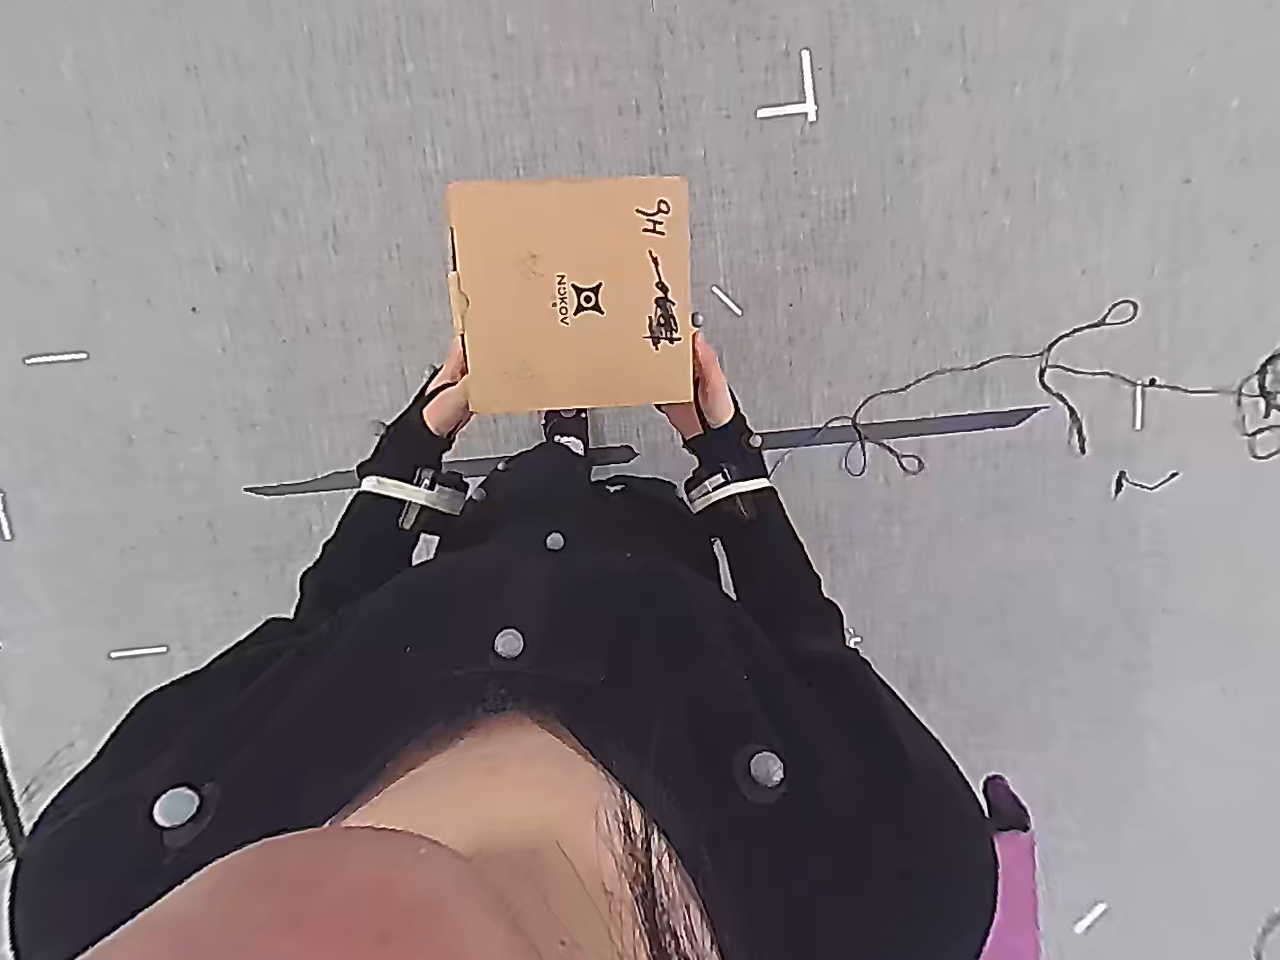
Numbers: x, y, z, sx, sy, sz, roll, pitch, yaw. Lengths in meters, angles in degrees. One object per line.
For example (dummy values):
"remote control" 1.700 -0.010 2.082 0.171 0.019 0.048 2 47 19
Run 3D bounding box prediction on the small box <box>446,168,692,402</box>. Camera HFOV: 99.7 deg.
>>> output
"small box" -0.052 -0.157 0.476 0.179 0.176 0.168 -3 104 -3
